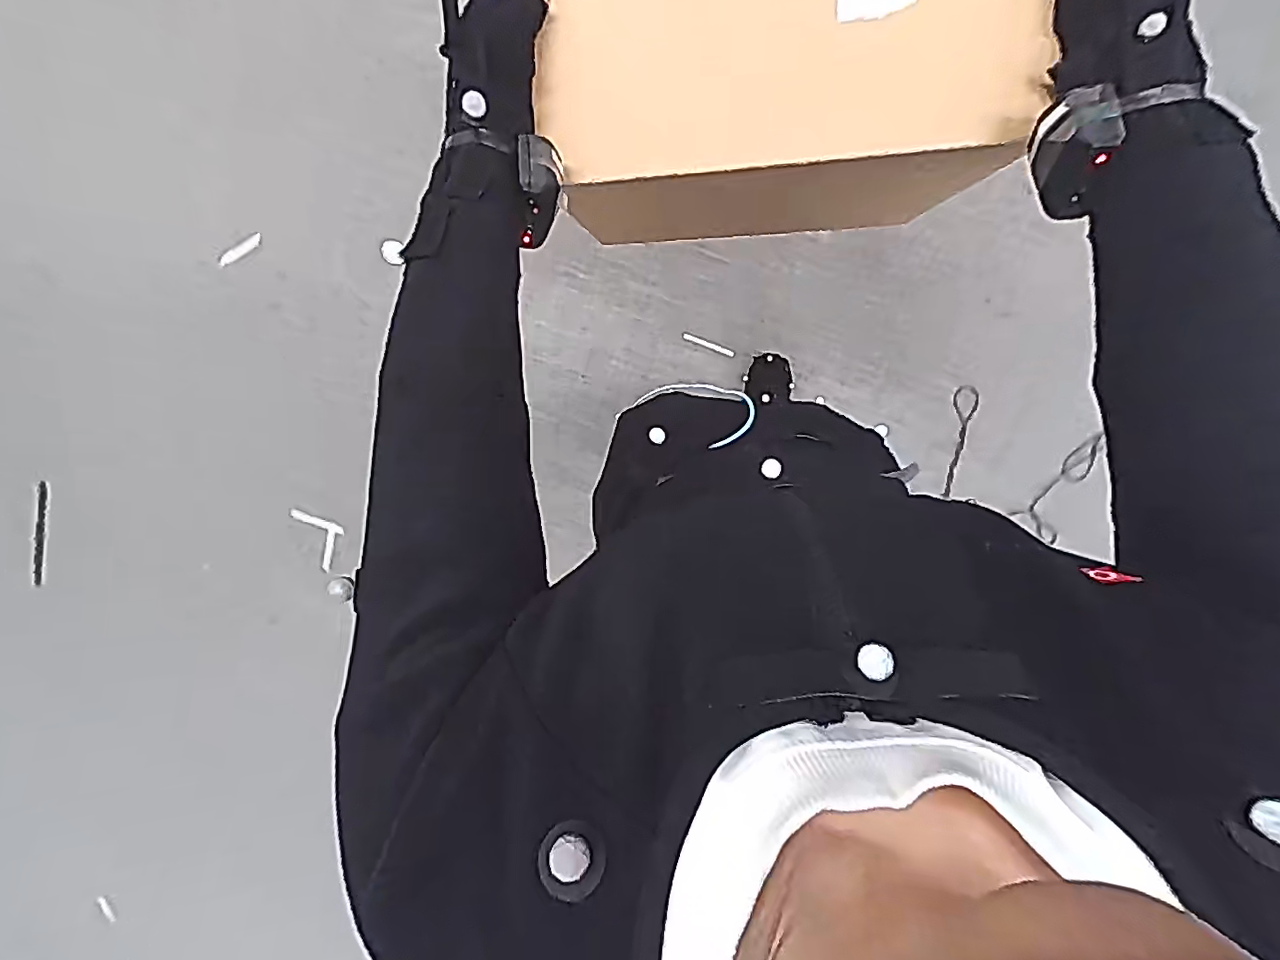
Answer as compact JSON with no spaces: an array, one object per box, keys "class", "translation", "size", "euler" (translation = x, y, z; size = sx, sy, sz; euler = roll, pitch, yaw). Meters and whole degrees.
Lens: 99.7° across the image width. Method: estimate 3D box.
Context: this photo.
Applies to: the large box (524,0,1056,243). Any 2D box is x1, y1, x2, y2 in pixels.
[{"class":"large box","translation":[0.115,-0.448,0.543],"size":[0.408,0.320,0.320],"euler":[-3,105,6]}]
